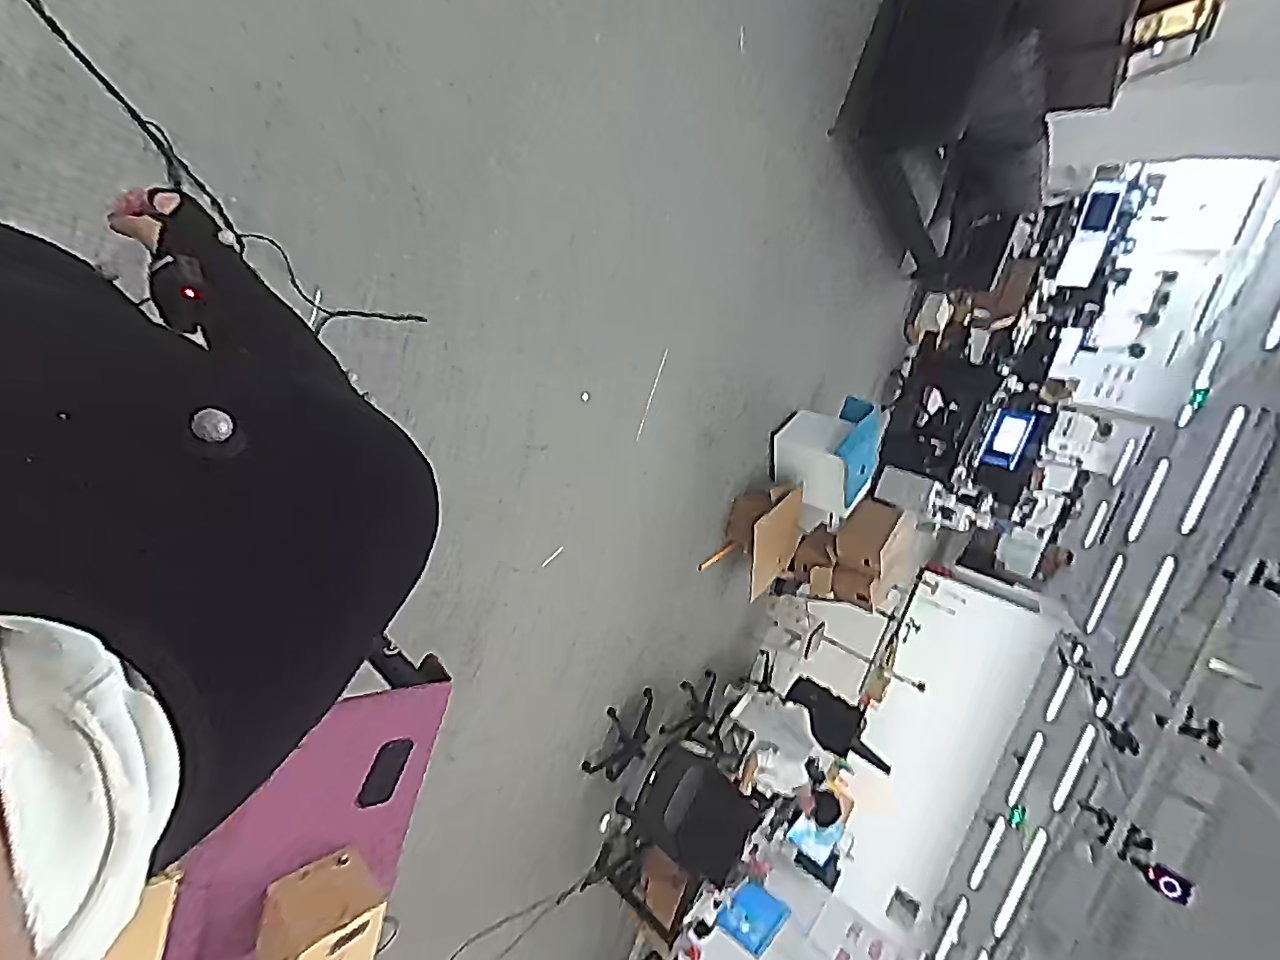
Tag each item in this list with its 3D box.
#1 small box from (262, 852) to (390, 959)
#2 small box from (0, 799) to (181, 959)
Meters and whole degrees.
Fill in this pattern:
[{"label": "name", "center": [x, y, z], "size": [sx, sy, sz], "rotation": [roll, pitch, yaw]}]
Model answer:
[{"label": "small box", "center": [-0.643, 0.907, 1.102], "size": [0.168, 0.176, 0.179], "rotation": [3, 107, -52]}, {"label": "small box", "center": [-0.779, 0.600, 0.756], "size": [0.168, 0.176, 0.179], "rotation": [6, 104, -53]}]
